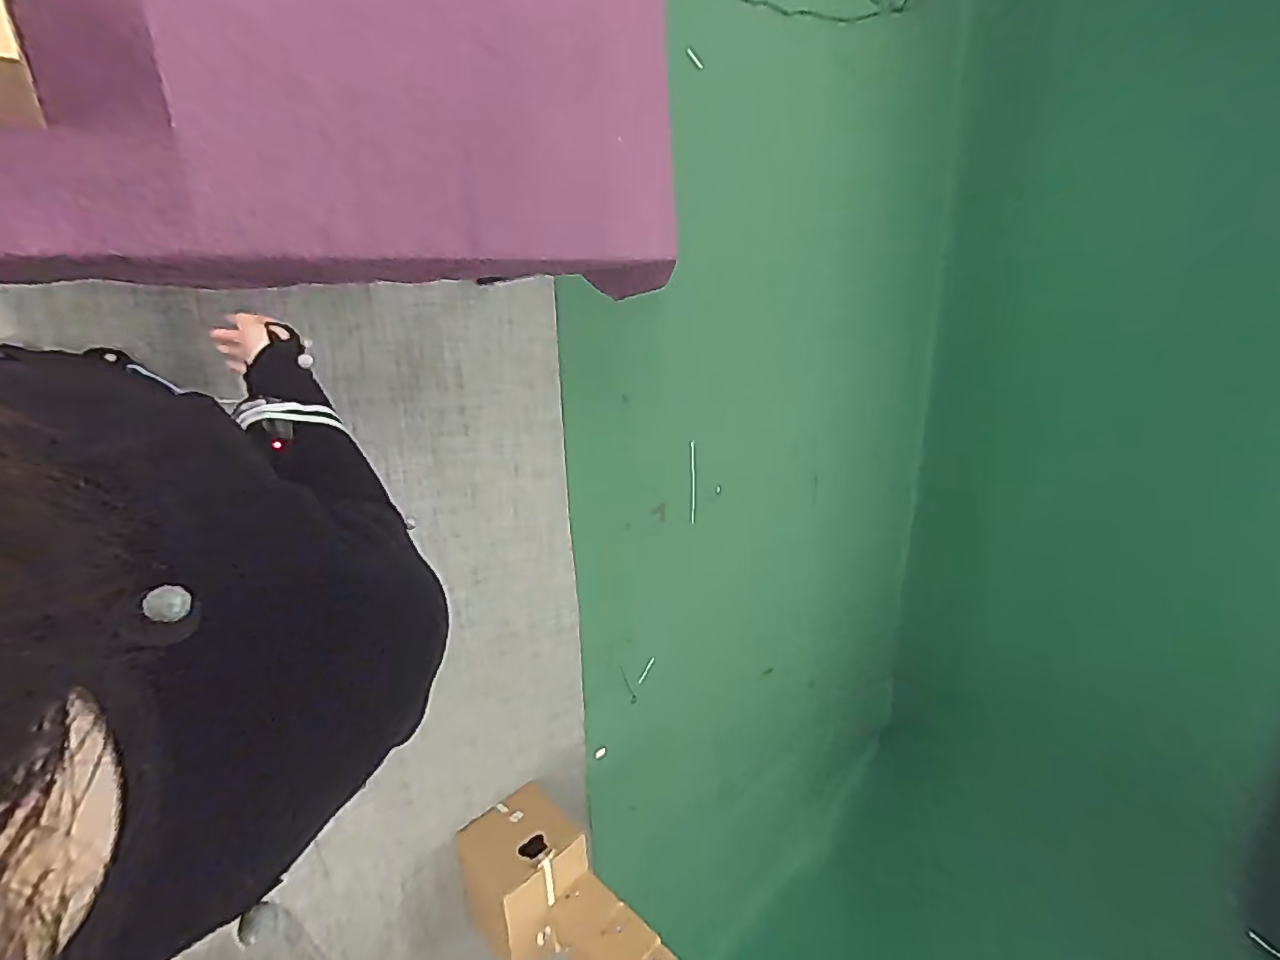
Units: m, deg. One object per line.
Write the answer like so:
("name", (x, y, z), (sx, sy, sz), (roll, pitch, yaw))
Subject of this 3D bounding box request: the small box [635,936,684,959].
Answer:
("small box", (0.064, 1.488, 1.559), (0.168, 0.176, 0.179), (-17, 110, -44))

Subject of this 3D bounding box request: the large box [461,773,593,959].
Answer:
("large box", (-0.392, 1.345, 1.889), (0.320, 0.320, 0.408), (-18, 113, -40))

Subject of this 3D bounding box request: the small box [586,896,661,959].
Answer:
("small box", (-0.049, 1.453, 1.672), (0.168, 0.176, 0.179), (-19, 112, -43))

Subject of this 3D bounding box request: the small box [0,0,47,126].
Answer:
("small box", (-0.568, -0.385, 0.380), (0.168, 0.176, 0.179), (-17, 112, -39))
